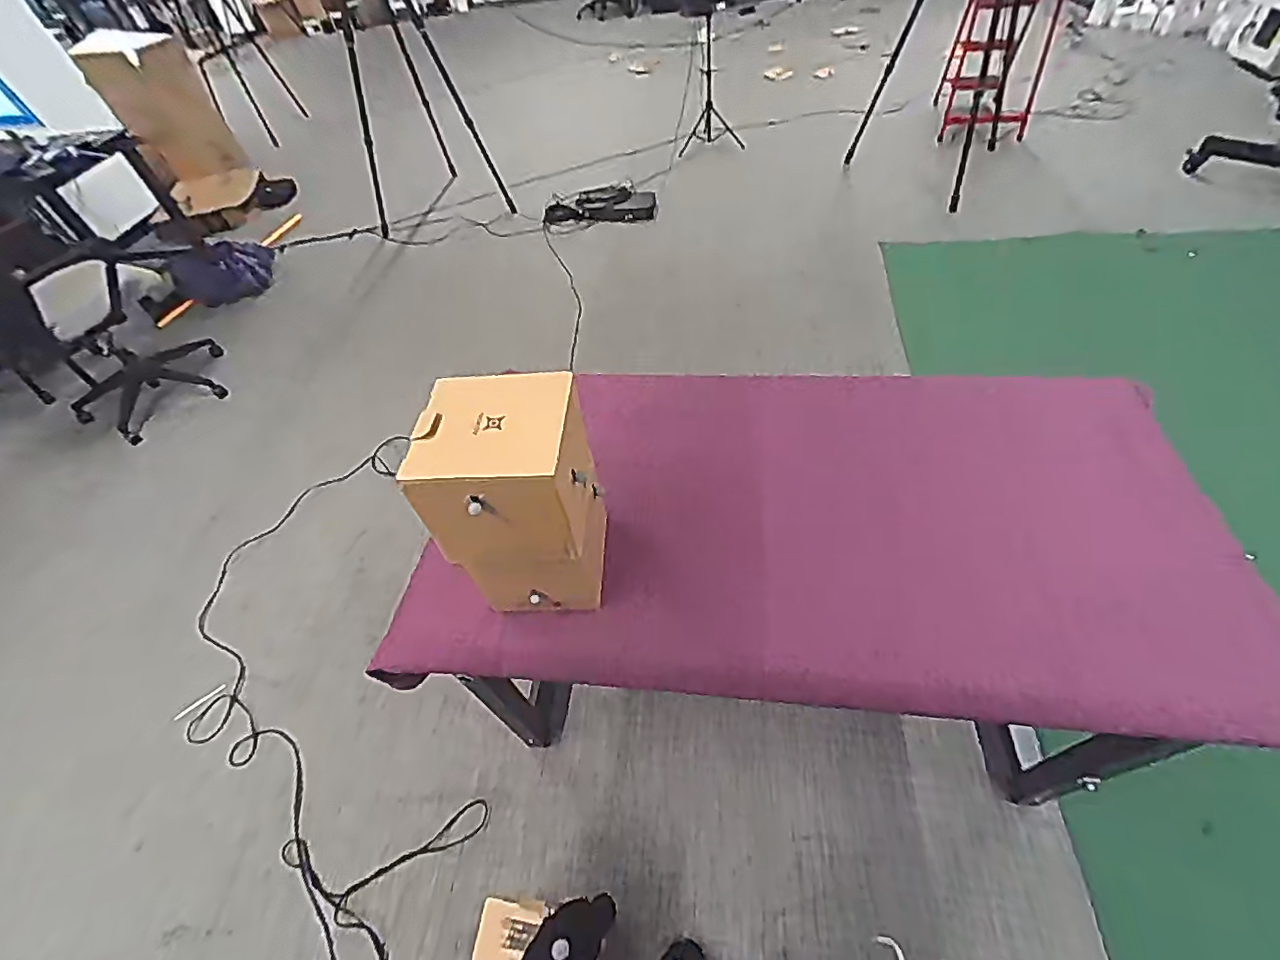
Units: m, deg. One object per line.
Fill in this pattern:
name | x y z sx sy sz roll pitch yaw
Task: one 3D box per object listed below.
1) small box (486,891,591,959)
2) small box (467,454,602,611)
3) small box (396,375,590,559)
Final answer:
small box | -0.197 0.932 1.062 0.168 0.176 0.179 3 53 9
small box | -0.152 0.078 0.811 0.168 0.176 0.179 -1 50 5
small box | -0.163 -0.012 0.674 0.179 0.176 0.168 -1 51 5
